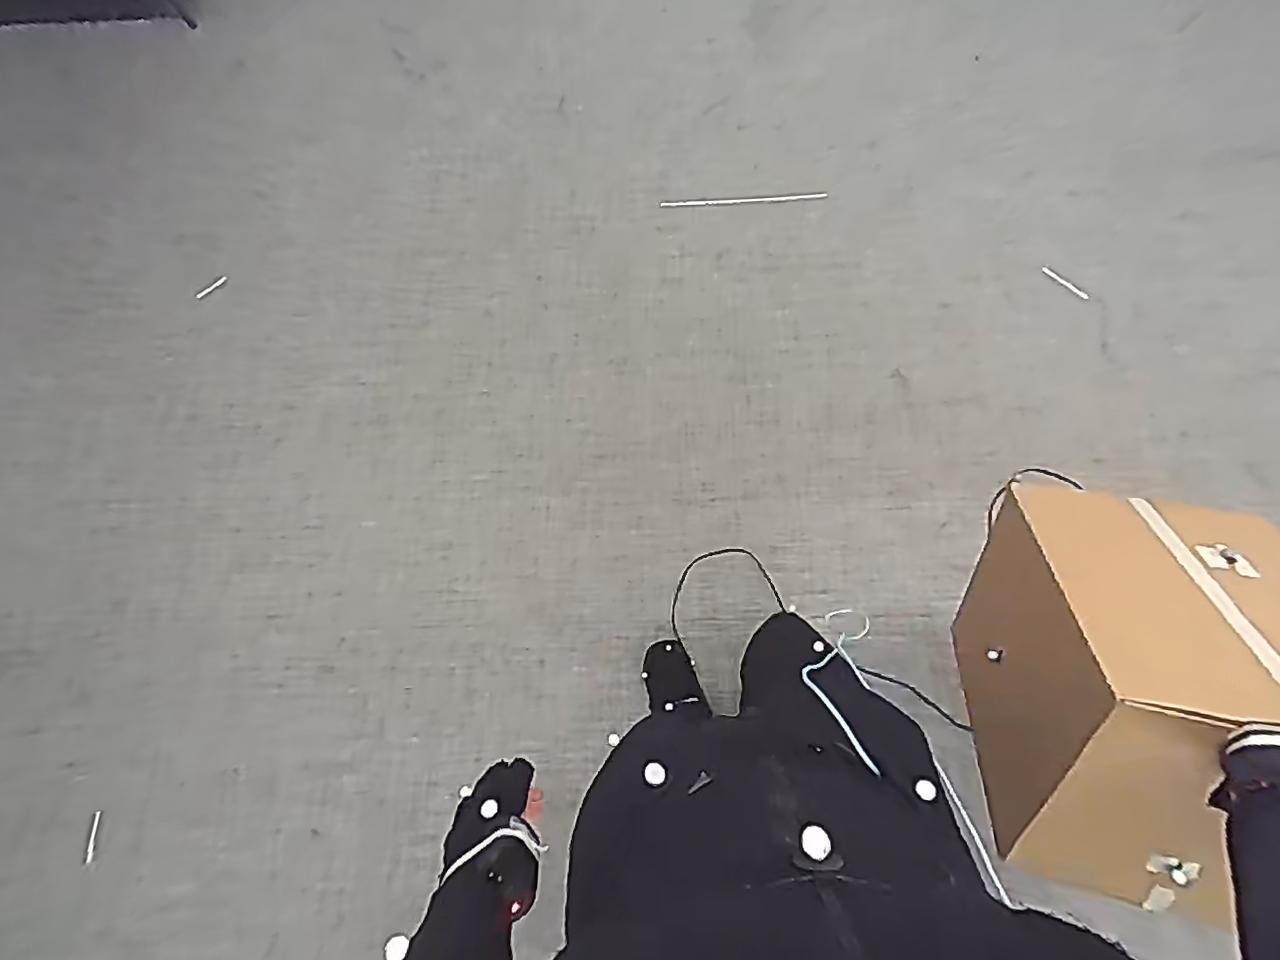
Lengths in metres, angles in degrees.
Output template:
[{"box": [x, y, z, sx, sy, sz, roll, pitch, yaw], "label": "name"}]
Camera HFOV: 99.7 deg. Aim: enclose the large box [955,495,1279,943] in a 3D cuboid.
[{"box": [0.648, 0.268, 0.699, 0.320, 0.408, 0.320, 10, 122, 15], "label": "large box"}]
